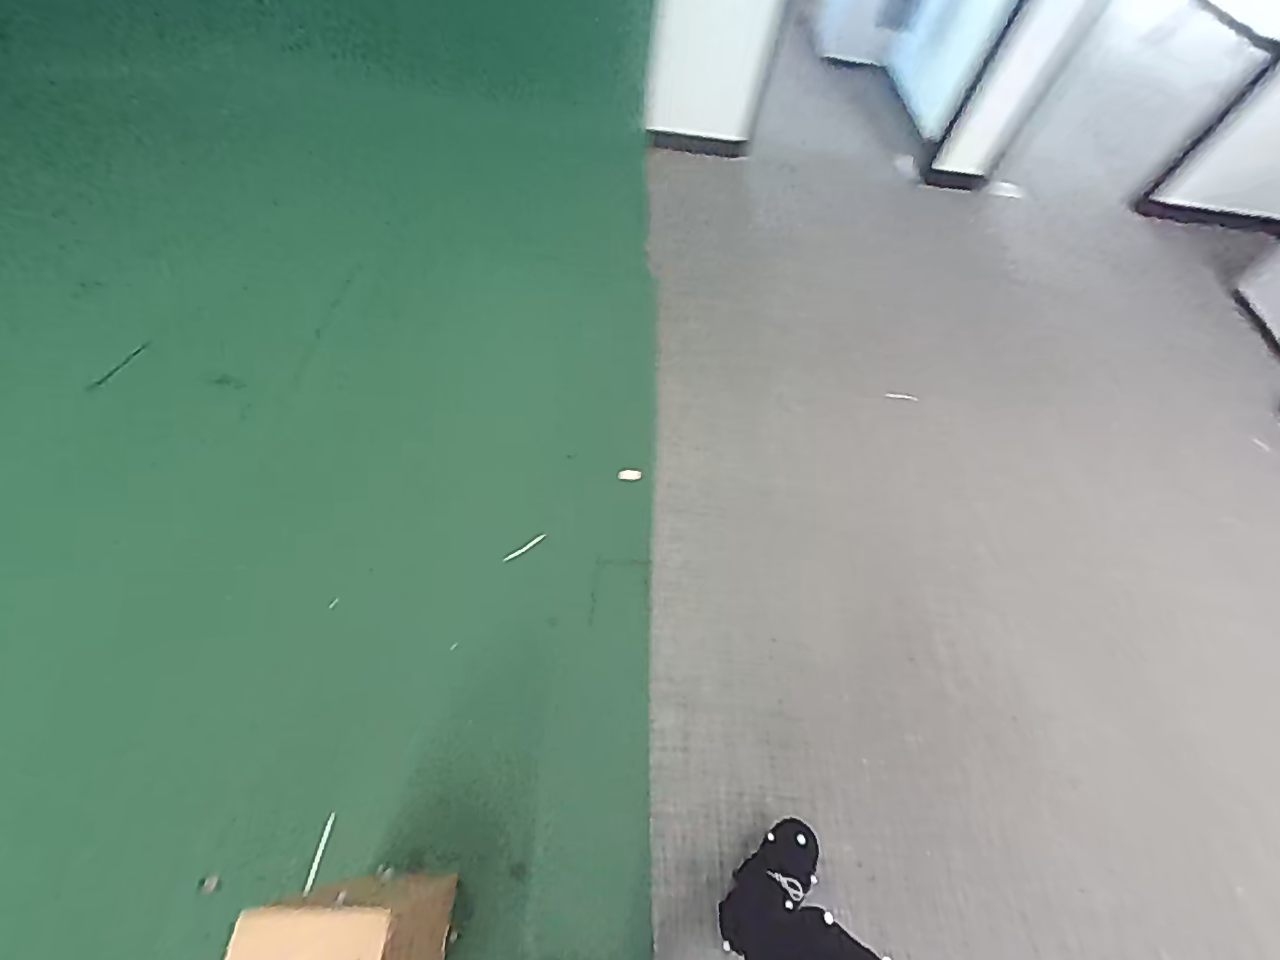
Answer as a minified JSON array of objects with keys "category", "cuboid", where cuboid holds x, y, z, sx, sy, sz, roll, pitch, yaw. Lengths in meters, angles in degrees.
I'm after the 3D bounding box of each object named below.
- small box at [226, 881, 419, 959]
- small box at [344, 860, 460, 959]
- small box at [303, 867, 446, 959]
[{"category":"small box","cuboid":[-0.393,0.612,0.674,0.179,0.176,0.168,3,60,-6]},{"category":"small box","cuboid":[-0.429,0.772,0.937,0.179,0.176,0.168,6,61,-5]},{"category":"small box","cuboid":[-0.412,0.696,0.815,0.179,0.176,0.168,5,60,-5]}]
